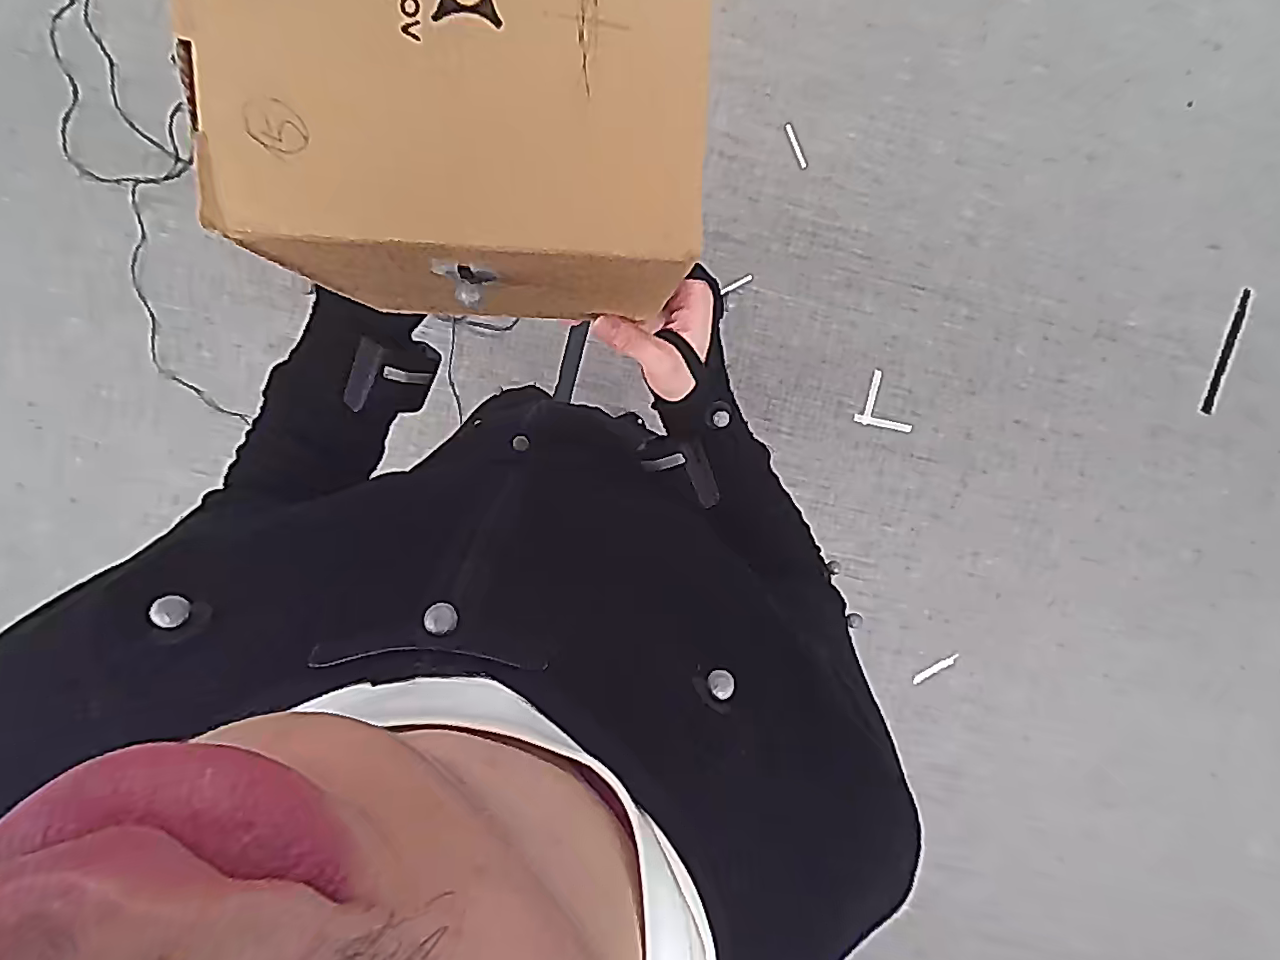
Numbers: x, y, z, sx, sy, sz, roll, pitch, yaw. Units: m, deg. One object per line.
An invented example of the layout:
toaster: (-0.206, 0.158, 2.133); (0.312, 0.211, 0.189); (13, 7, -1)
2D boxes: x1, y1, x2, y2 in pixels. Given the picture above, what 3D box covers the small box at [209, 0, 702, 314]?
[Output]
small box: (-0.071, -0.182, 0.272); (0.179, 0.176, 0.168); (0, 98, -6)
